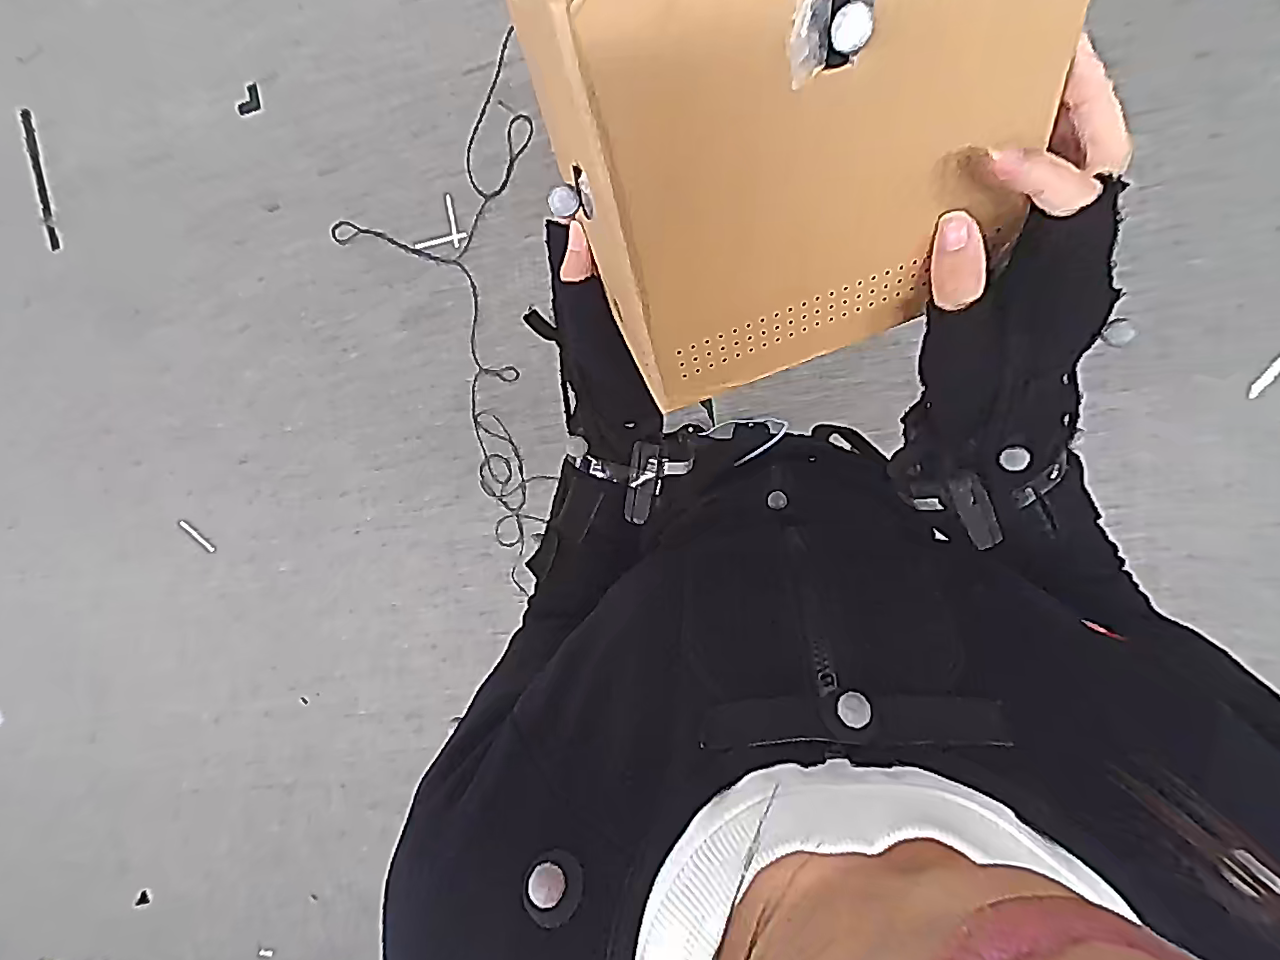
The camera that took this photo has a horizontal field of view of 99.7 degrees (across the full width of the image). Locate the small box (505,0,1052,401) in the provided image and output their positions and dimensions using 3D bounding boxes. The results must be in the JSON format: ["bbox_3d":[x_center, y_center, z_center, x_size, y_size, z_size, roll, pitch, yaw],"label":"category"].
[{"bbox_3d":[0.054,-0.165,0.254,0.179,0.168,0.176,-21,138,-1],"label":"small box"}]
